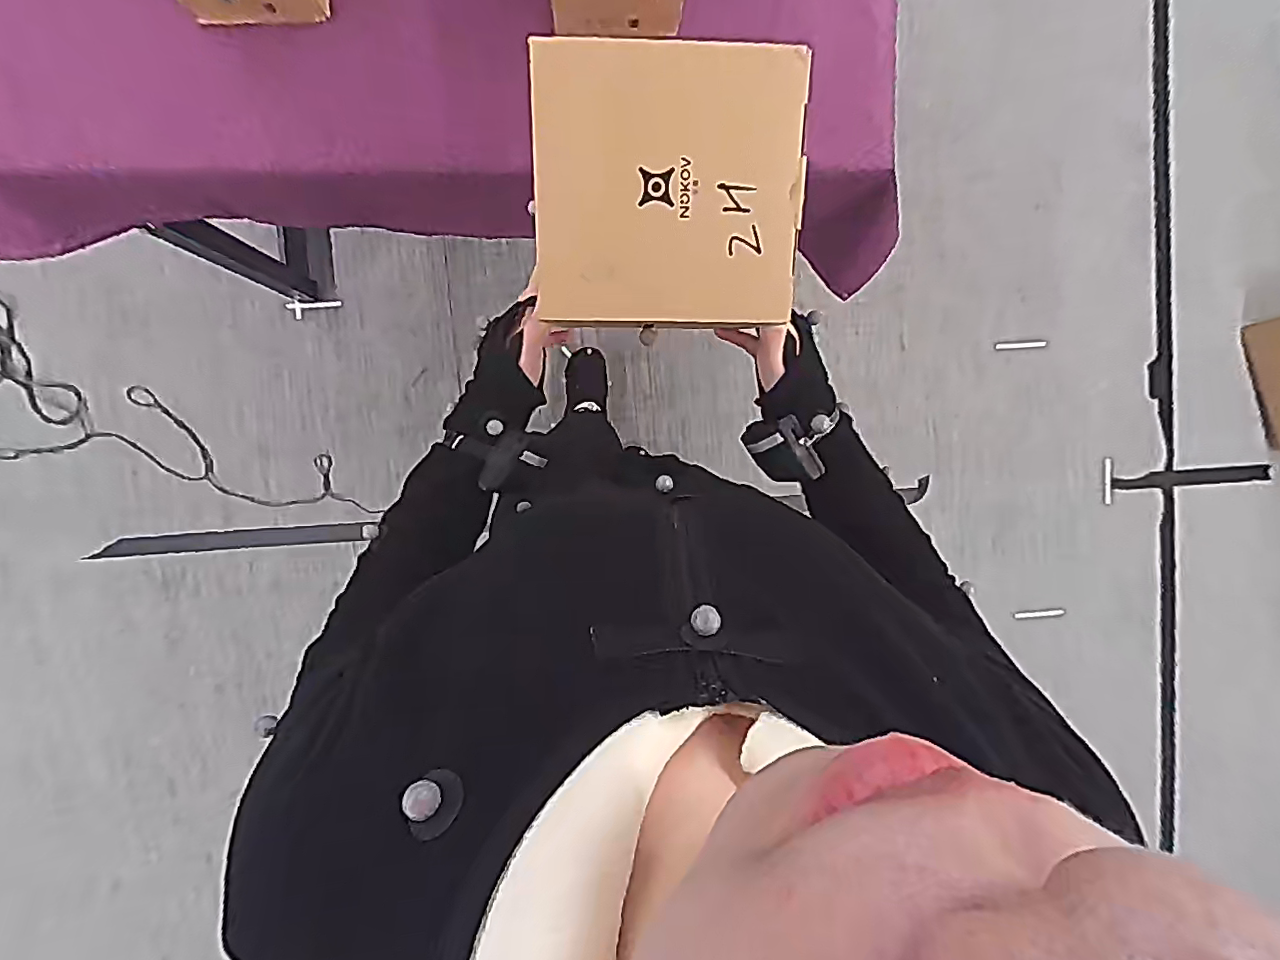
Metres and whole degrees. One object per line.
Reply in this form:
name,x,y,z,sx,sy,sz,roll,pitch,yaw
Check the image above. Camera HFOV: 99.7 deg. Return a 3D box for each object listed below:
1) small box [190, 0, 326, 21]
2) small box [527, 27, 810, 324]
small box,-0.479,-0.667,0.601,0.168,0.176,0.179,-5,96,-5
small box,0.013,-0.212,0.426,0.179,0.176,0.168,0,105,-3
